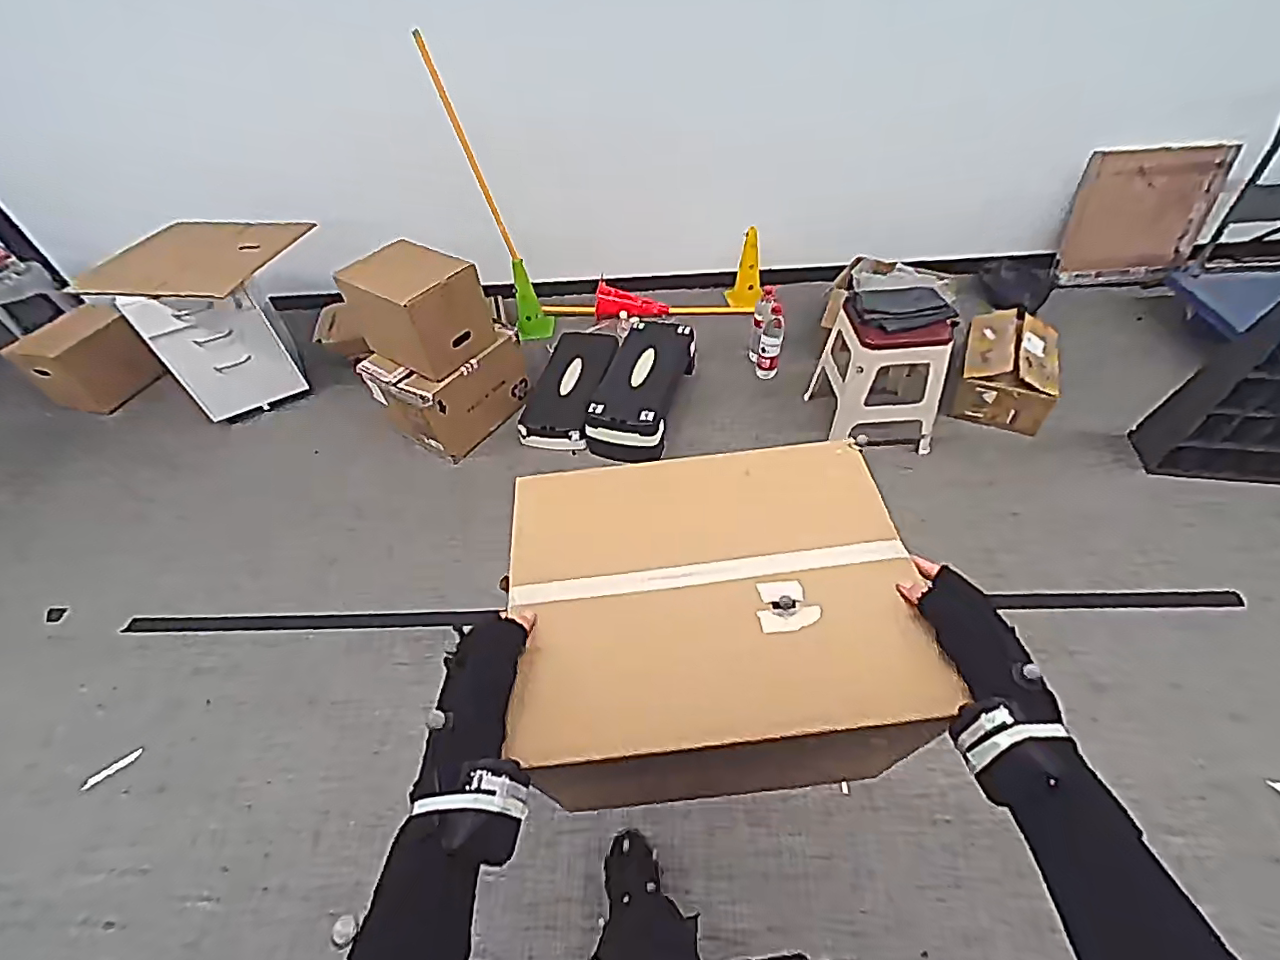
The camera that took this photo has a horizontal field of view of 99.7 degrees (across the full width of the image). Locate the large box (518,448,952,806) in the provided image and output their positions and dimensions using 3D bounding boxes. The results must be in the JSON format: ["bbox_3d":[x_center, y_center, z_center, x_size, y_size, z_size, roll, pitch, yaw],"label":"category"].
[{"bbox_3d":[0.078,0.195,0.689,0.408,0.320,0.320,-7,53,-1],"label":"large box"}]
